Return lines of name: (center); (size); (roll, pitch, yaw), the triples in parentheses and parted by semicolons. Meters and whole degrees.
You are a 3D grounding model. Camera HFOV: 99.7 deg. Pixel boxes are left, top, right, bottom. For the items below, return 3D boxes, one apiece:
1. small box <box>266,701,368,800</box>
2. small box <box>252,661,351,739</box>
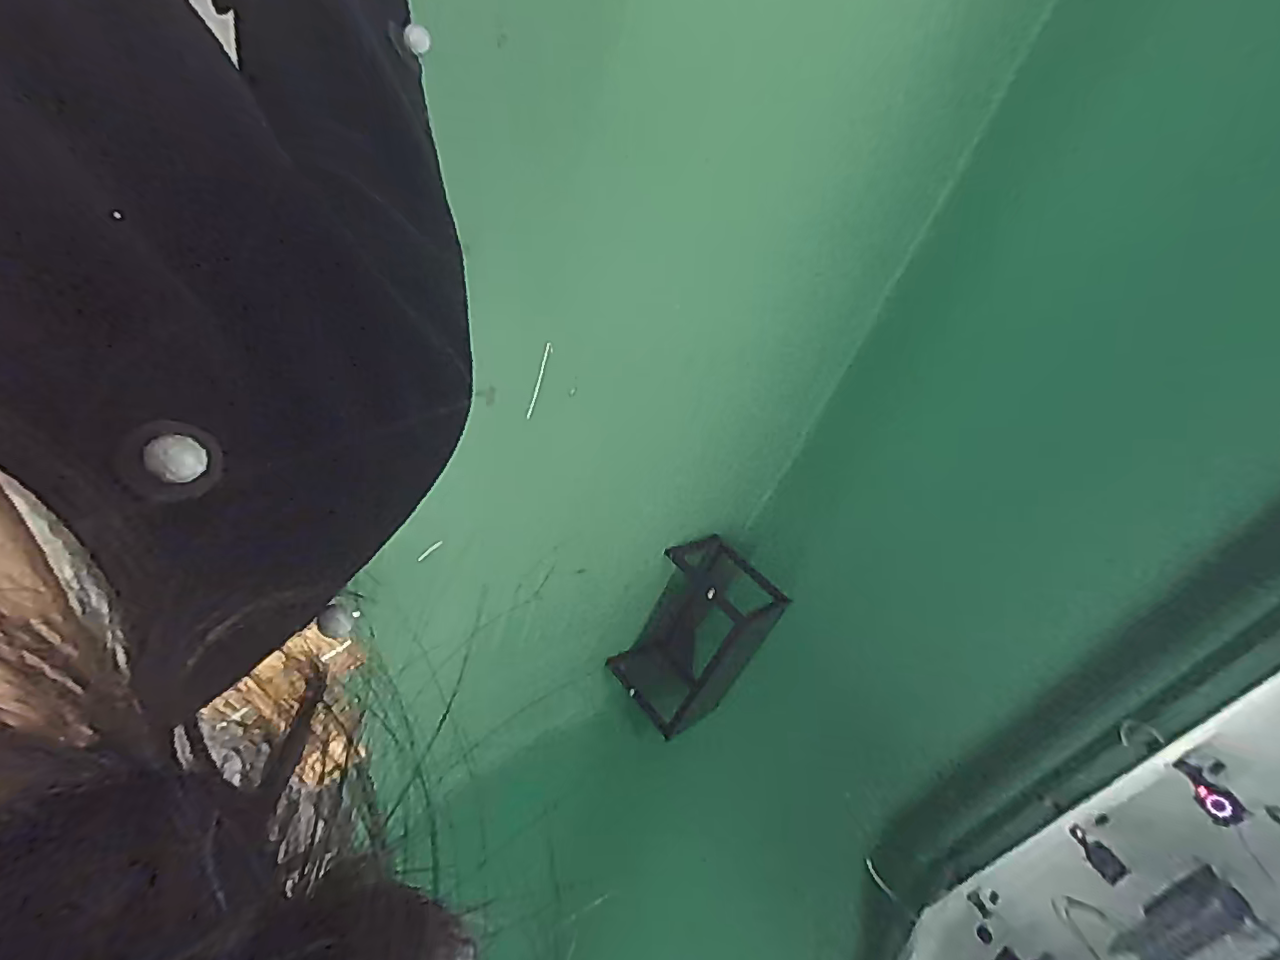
small box: (-0.911, 0.760, 1.529); (0.168, 0.176, 0.179); (-34, 145, -23)
small box: (-1.015, 0.675, 1.624); (0.168, 0.176, 0.179); (-36, 146, -19)
